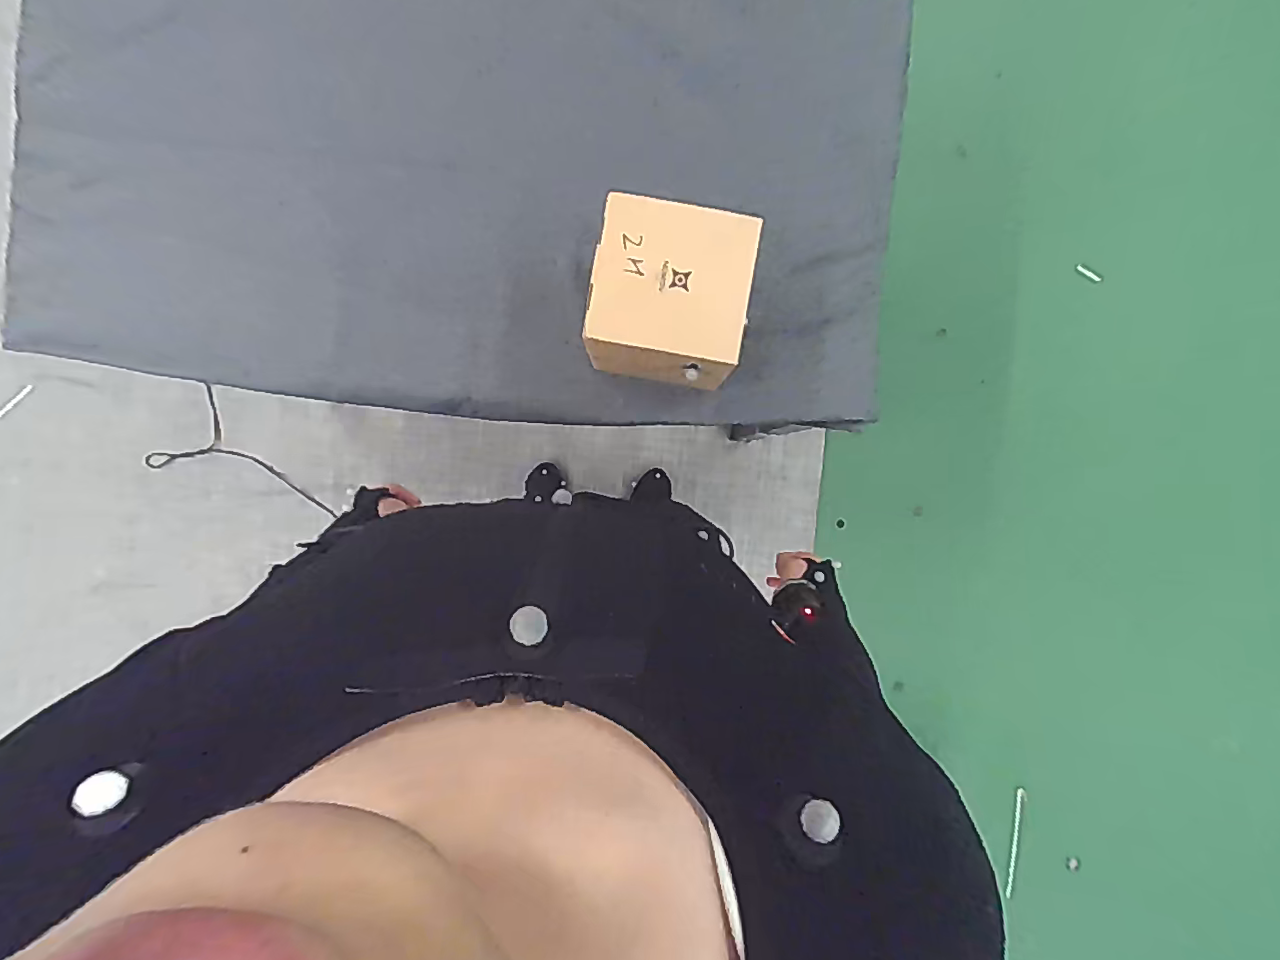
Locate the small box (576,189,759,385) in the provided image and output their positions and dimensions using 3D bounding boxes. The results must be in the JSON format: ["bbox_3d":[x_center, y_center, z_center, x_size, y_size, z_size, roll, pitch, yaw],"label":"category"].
[{"bbox_3d":[0.029,-0.220,0.664,0.179,0.176,0.168,10,89,0],"label":"small box"}]
